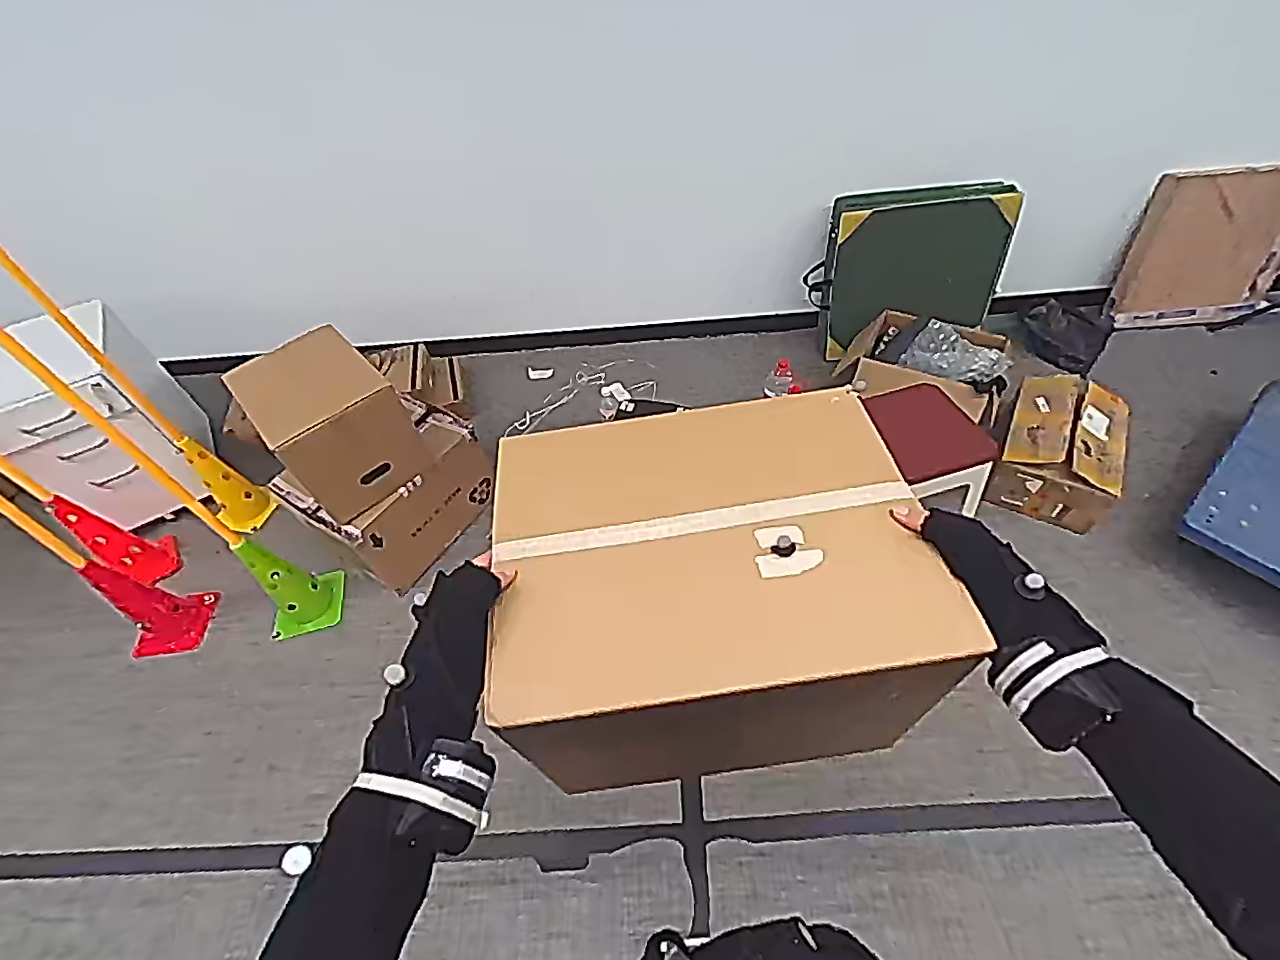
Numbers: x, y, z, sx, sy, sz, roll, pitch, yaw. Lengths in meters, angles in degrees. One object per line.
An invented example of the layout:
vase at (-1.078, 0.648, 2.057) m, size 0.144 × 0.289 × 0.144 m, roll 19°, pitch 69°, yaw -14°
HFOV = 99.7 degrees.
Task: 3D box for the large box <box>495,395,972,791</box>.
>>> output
large box at (0.071, 0.141, 0.644) m, size 0.408 × 0.320 × 0.320 m, roll -8°, pitch 51°, yaw 0°
